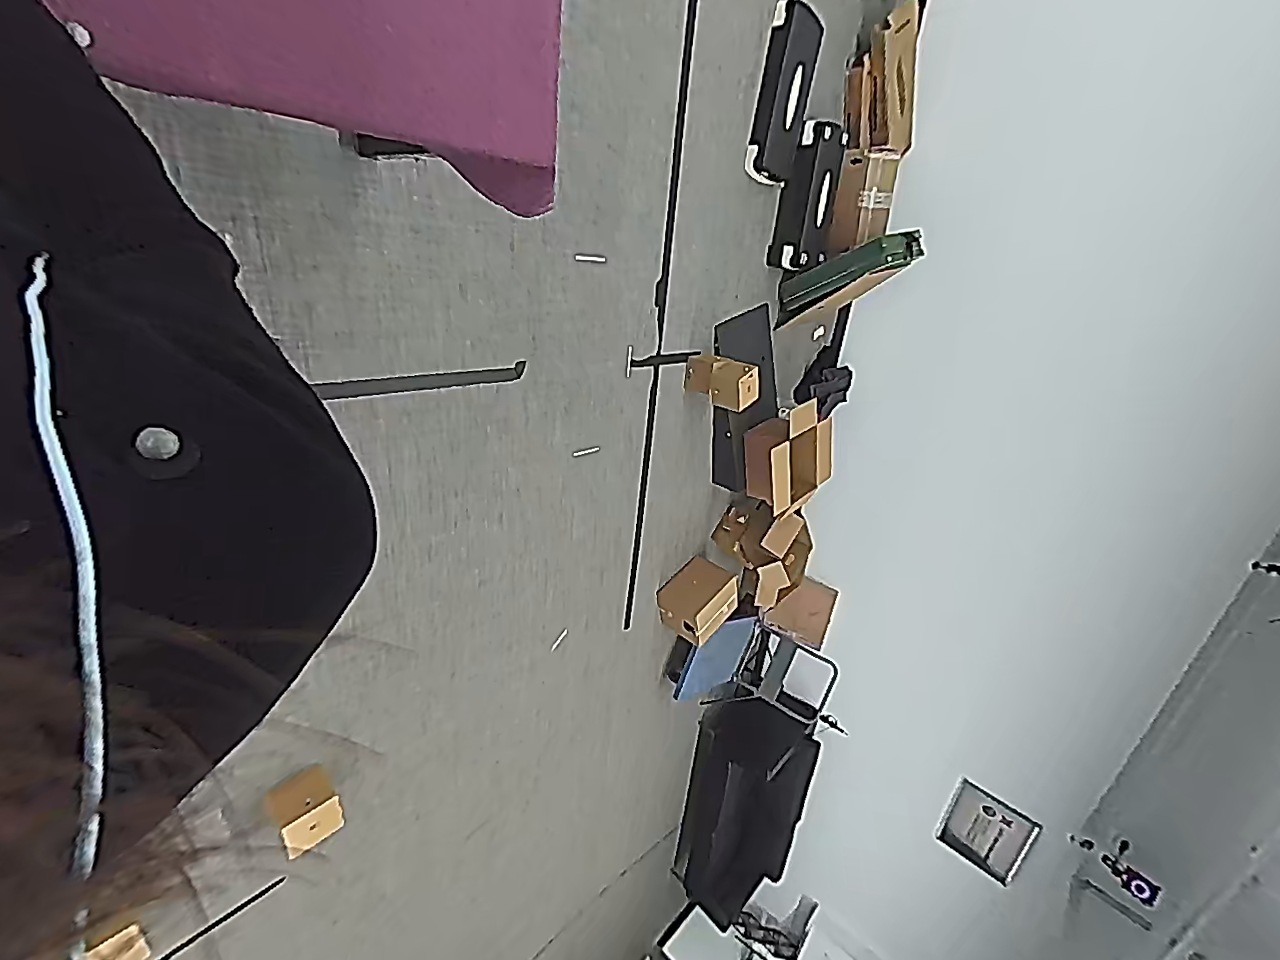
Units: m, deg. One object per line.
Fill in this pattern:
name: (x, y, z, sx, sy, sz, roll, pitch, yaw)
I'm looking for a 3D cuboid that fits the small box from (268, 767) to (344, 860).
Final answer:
small box: (-1.165, 1.151, 1.879, 0.179, 0.176, 0.168, -22, 126, -45)
